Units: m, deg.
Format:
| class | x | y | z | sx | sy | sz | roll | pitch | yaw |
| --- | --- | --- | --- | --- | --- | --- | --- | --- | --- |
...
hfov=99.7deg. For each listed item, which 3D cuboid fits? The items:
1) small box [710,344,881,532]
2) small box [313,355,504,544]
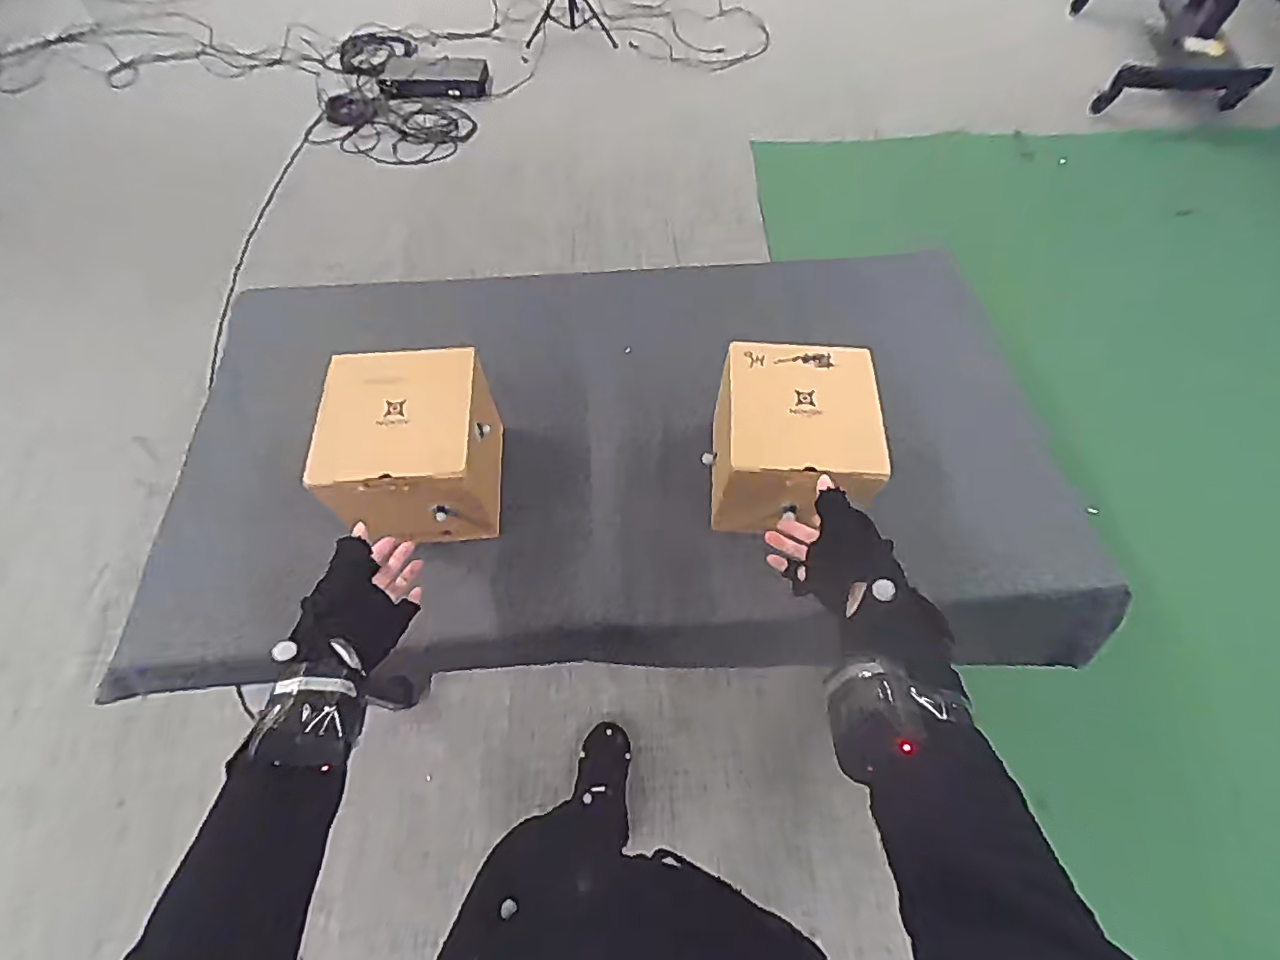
| class | x | y | z | sx | sy | sz | roll | pitch | yaw |
| --- | --- | --- | --- | --- | --- | --- | --- | --- | --- |
| small box | 0.179 | -0.045 | 0.673 | 0.168 | 0.176 | 0.179 | 3 | 63 | 3 |
| small box | -0.269 | -0.029 | 0.674 | 0.168 | 0.176 | 0.179 | -5 | 61 | -4 |
